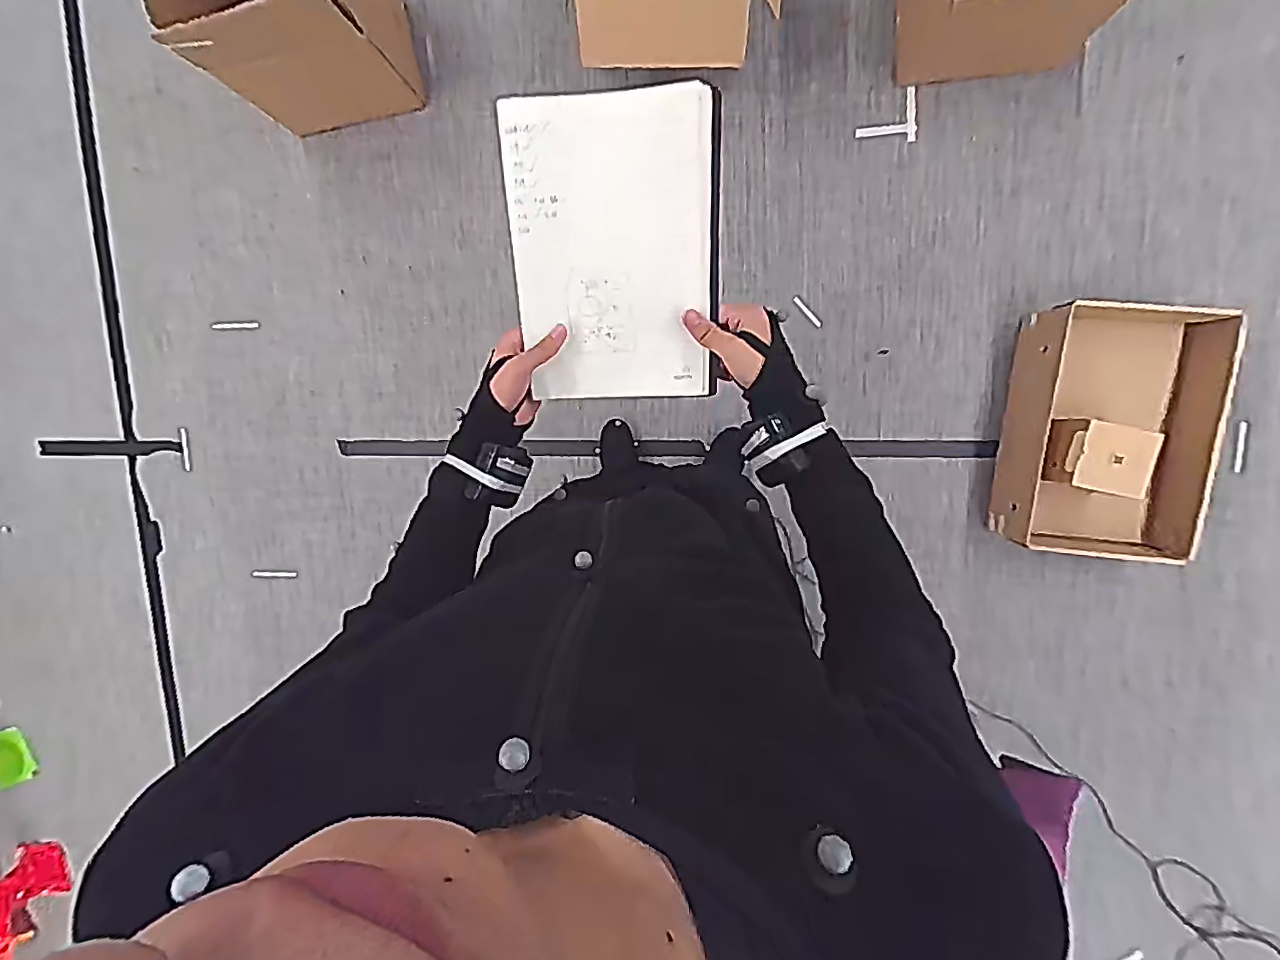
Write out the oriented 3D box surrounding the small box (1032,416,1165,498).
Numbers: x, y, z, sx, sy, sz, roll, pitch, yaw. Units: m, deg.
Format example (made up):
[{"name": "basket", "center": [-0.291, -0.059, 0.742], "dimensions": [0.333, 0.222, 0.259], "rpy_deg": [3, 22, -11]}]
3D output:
[{"name": "small box", "center": [1.153, -0.062, 1.377], "dimensions": [0.179, 0.176, 0.168], "rpy_deg": [13, 98, 4]}]
